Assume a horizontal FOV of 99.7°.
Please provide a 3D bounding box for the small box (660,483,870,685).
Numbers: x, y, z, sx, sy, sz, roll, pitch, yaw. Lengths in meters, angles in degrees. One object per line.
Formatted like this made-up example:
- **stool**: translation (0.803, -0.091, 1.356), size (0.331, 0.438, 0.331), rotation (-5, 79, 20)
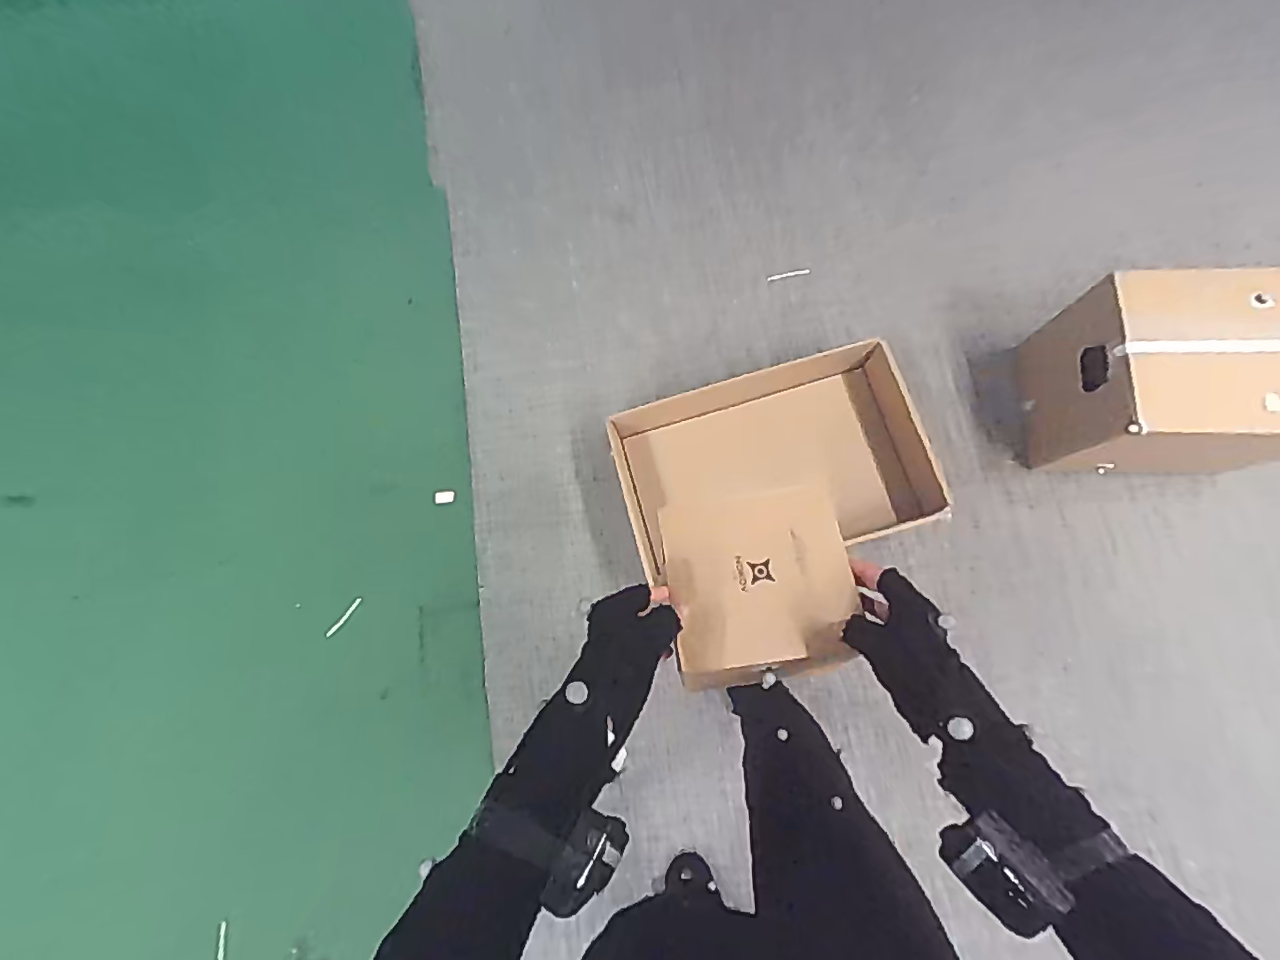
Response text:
- **small box**: translation (0.122, 0.123, 0.596), size (0.179, 0.176, 0.168), rotation (-8, 63, 1)
